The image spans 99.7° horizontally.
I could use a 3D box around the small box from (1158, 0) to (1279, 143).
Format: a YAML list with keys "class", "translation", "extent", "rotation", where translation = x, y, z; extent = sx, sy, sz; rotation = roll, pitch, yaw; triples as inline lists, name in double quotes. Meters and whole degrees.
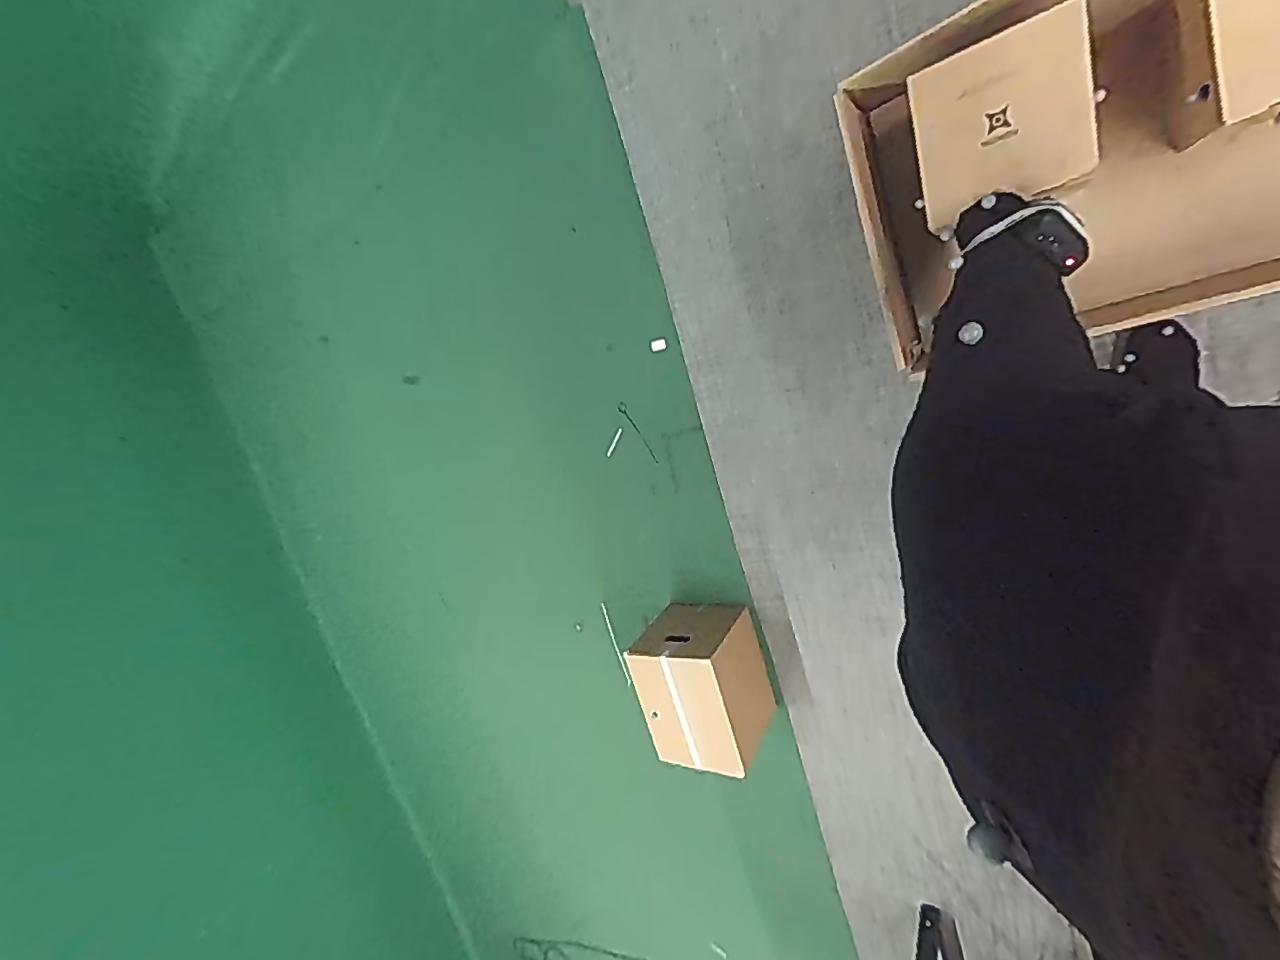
- class: "small box"
  translation: [0.642, -0.466, 0.527]
  extent: [0.168, 0.176, 0.179]
  rotation: [-11, 104, 37]
